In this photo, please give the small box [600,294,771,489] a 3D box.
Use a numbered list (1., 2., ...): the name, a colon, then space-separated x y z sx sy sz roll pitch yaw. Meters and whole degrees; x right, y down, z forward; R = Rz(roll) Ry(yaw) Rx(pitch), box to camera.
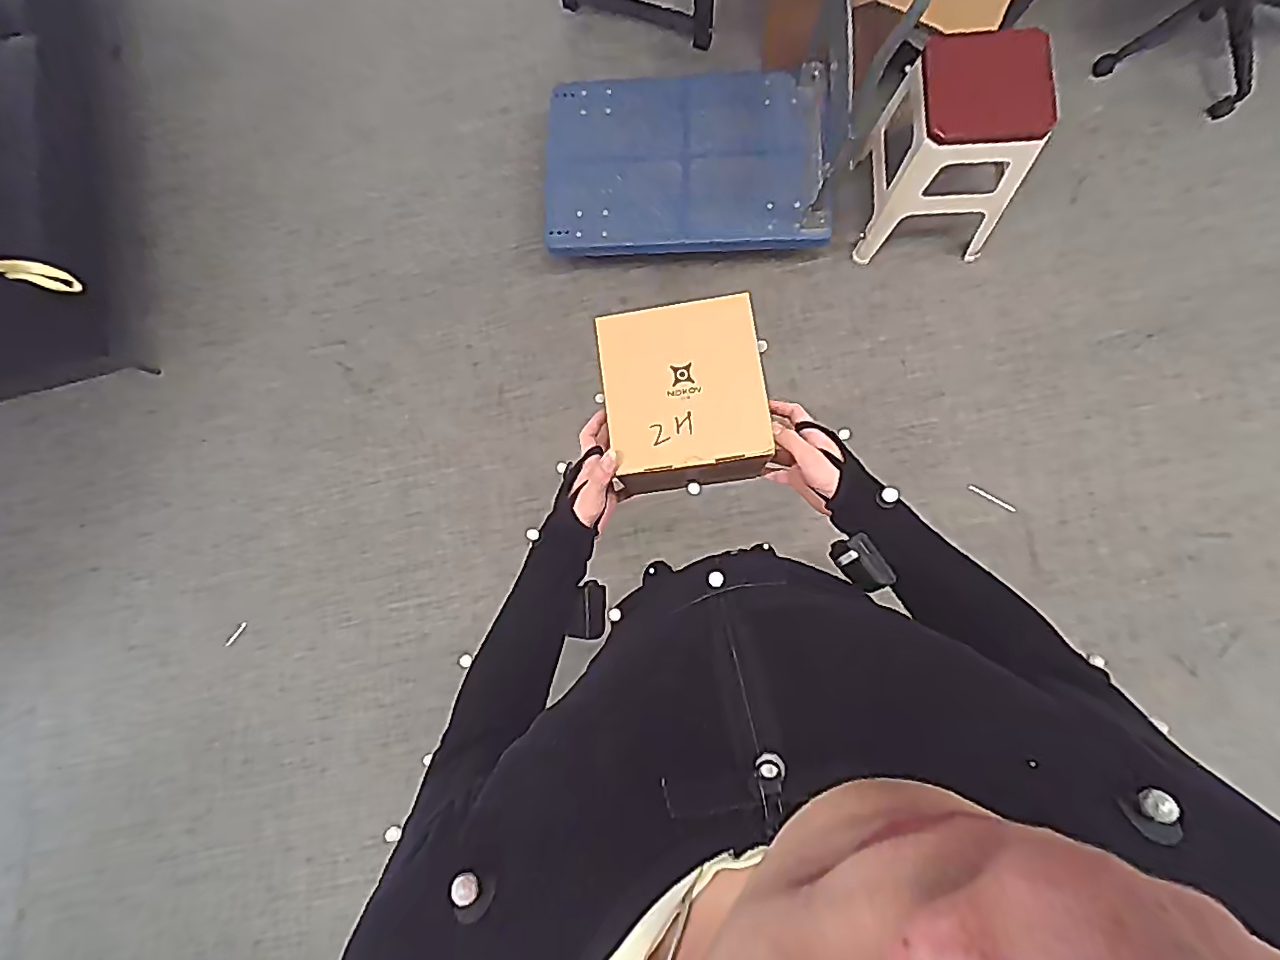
1. small box: 0.051 -0.093 0.645 0.168 0.176 0.179 -7 82 5
